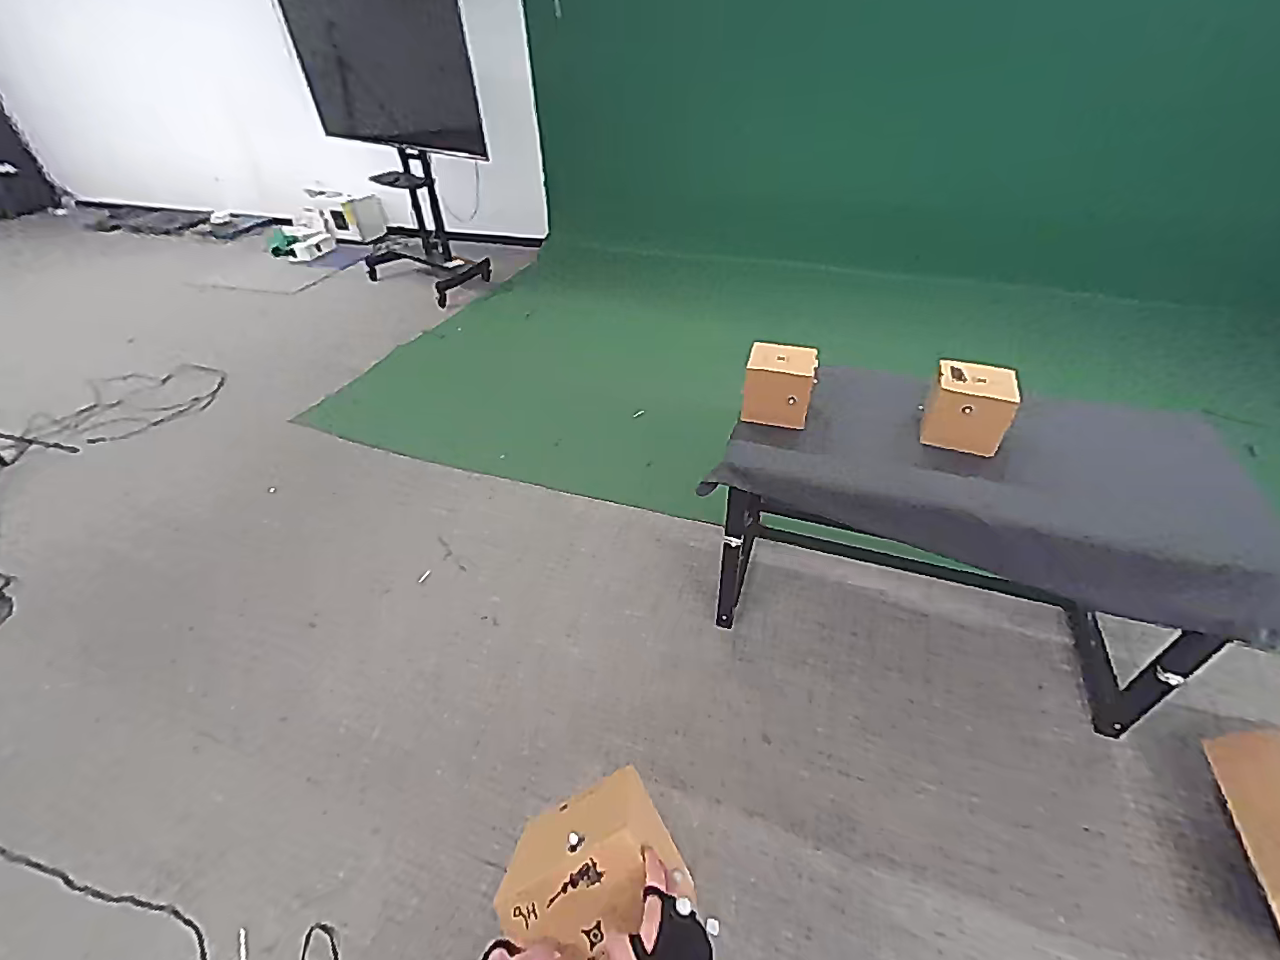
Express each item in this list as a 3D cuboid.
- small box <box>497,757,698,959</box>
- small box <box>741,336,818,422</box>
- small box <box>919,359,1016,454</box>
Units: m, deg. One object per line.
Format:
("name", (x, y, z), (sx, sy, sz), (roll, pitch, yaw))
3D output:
("small box", (-0.043, 0.486, 0.666), (0.168, 0.176, 0.179), (-30, 83, -1))
("small box", (0.384, -0.278, 1.498), (0.179, 0.176, 0.168), (9, 41, 14))
("small box", (0.842, -0.189, 1.398), (0.179, 0.176, 0.168), (17, 46, 21))
